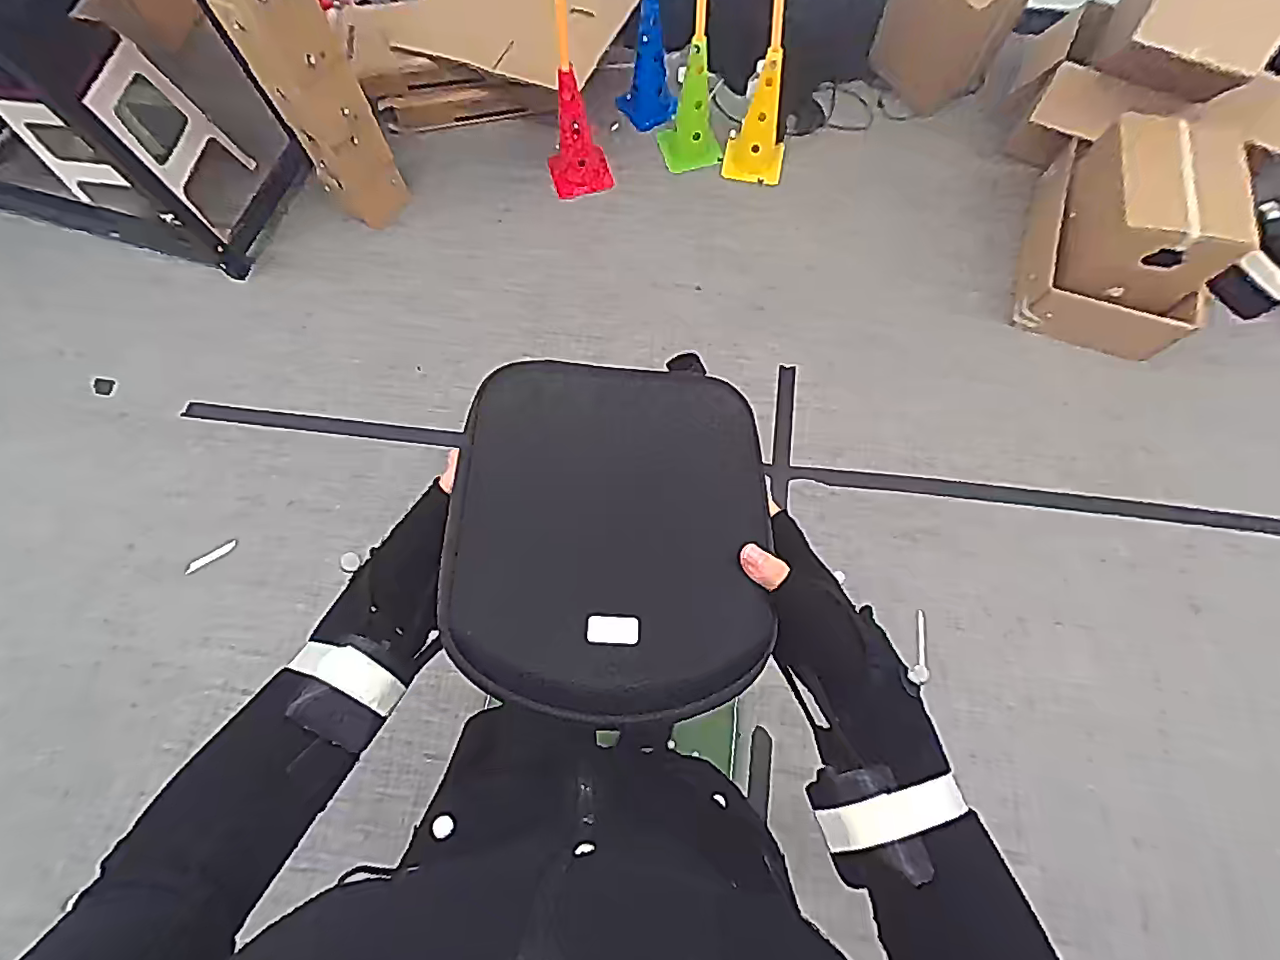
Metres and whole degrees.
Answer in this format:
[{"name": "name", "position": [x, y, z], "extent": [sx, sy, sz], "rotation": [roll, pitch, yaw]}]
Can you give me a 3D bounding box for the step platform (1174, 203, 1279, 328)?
[{"name": "step platform", "position": [2.075, -0.722, 1.661], "extent": [0.684, 0.204, 0.286], "rotation": [-21, 73, -6]}]
